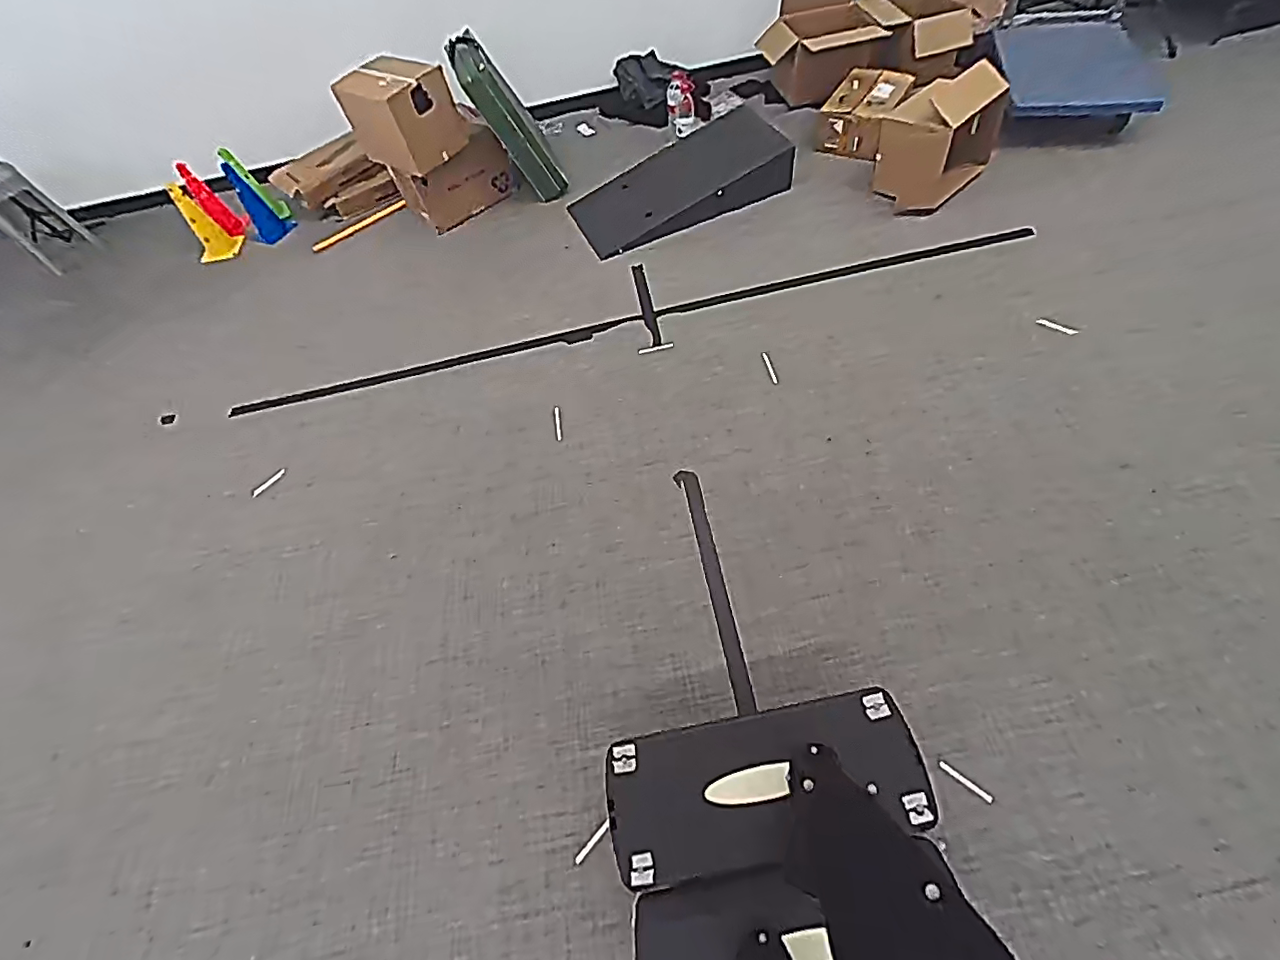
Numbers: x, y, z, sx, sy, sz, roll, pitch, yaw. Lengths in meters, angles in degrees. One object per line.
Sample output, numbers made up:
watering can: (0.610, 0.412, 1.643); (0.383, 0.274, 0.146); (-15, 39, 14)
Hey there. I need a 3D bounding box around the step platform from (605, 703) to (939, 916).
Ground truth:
step platform: (0.266, 0.711, 1.188); (0.684, 0.204, 0.286); (-13, 57, -1)
